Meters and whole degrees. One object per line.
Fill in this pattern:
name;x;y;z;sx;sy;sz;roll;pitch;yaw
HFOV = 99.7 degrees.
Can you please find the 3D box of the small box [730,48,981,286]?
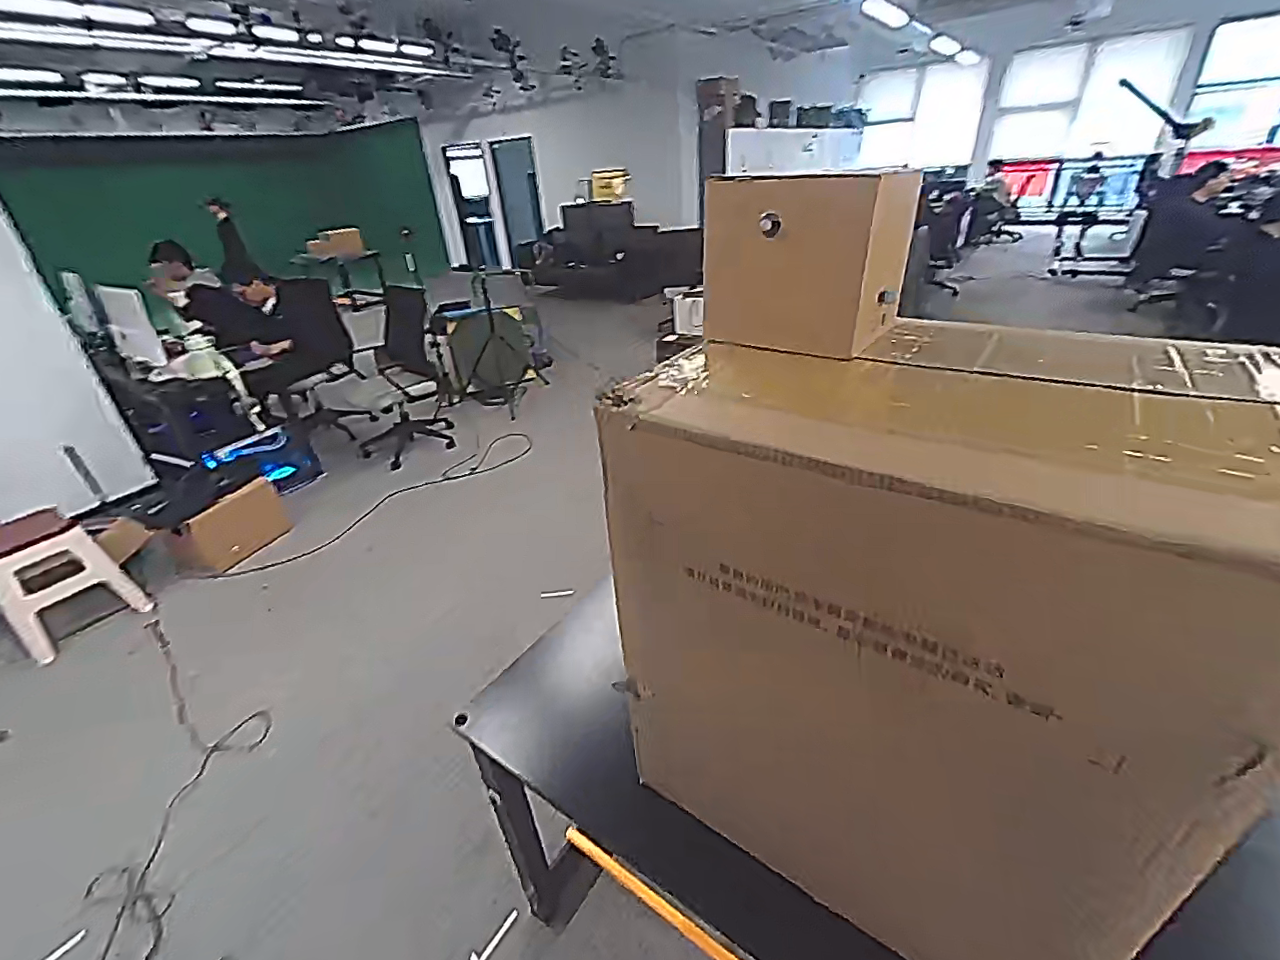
small box;0.199;-0.289;0.525;0.179;0.176;0.168;19;36;31
